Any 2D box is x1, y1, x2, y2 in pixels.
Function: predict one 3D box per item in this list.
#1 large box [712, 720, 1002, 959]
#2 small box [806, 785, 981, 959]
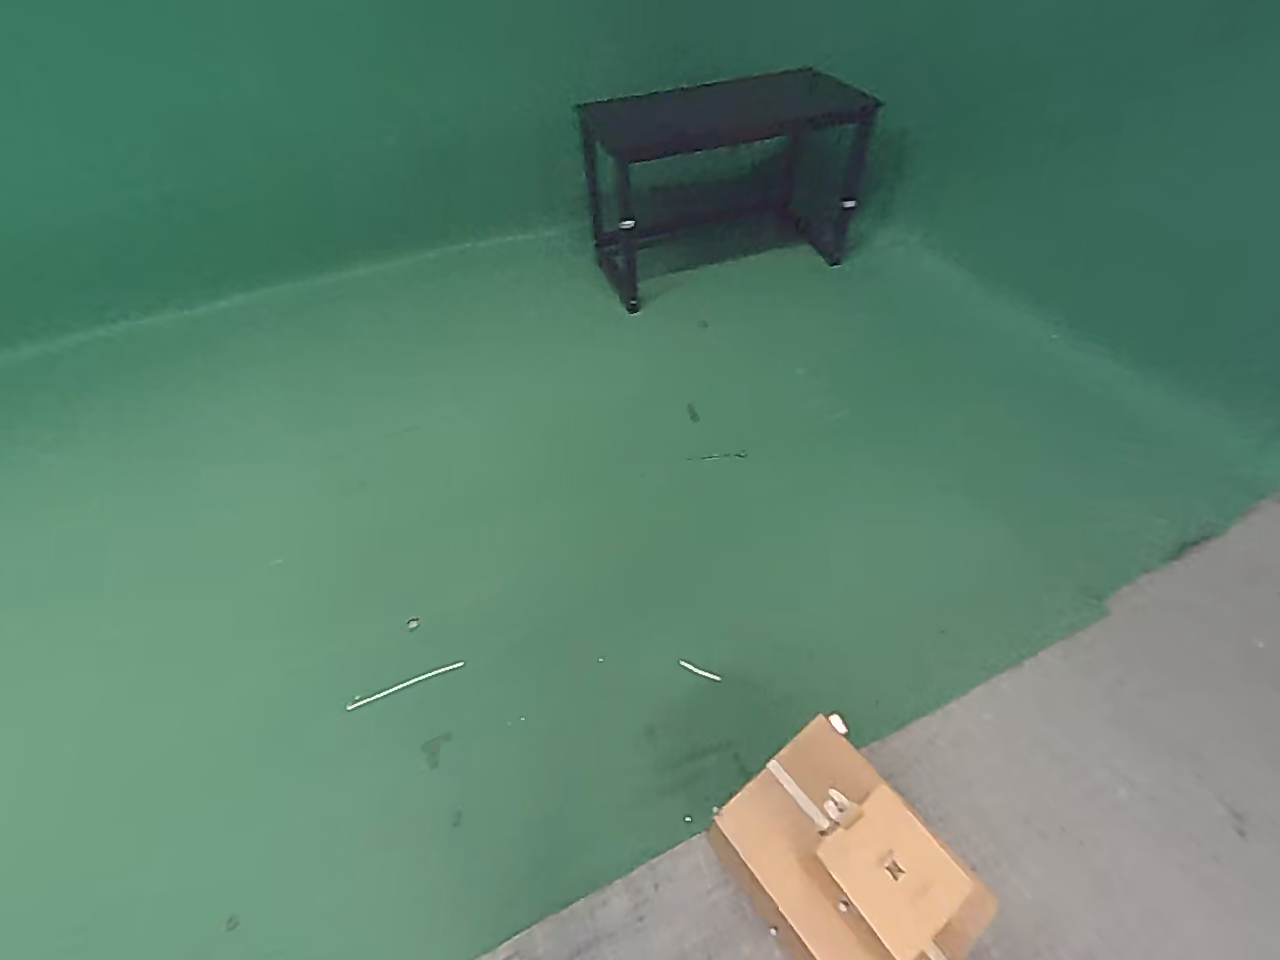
[{"bbox_3d":[0.392,0.786,1.084,0.320,0.320,0.408,-31,53,-22],"label":"large box"},{"bbox_3d":[0.396,0.643,0.881,0.168,0.176,0.179,-30,55,-18],"label":"small box"}]
